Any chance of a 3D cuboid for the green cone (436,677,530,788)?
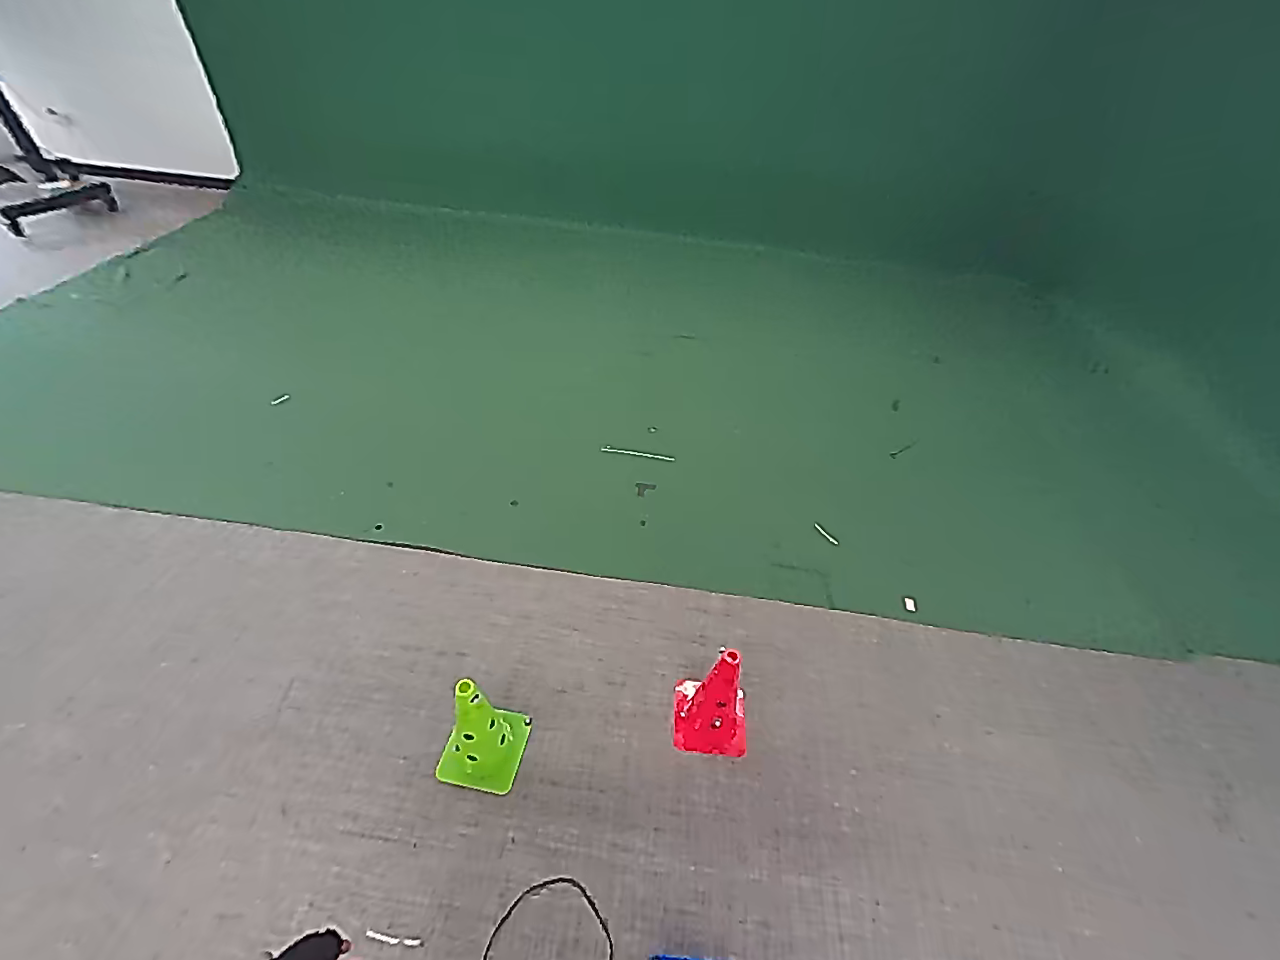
[{"bbox_3d":[-0.399,0.569,1.305,0.200,0.368,0.202,9,45,4],"label":"green cone"}]
